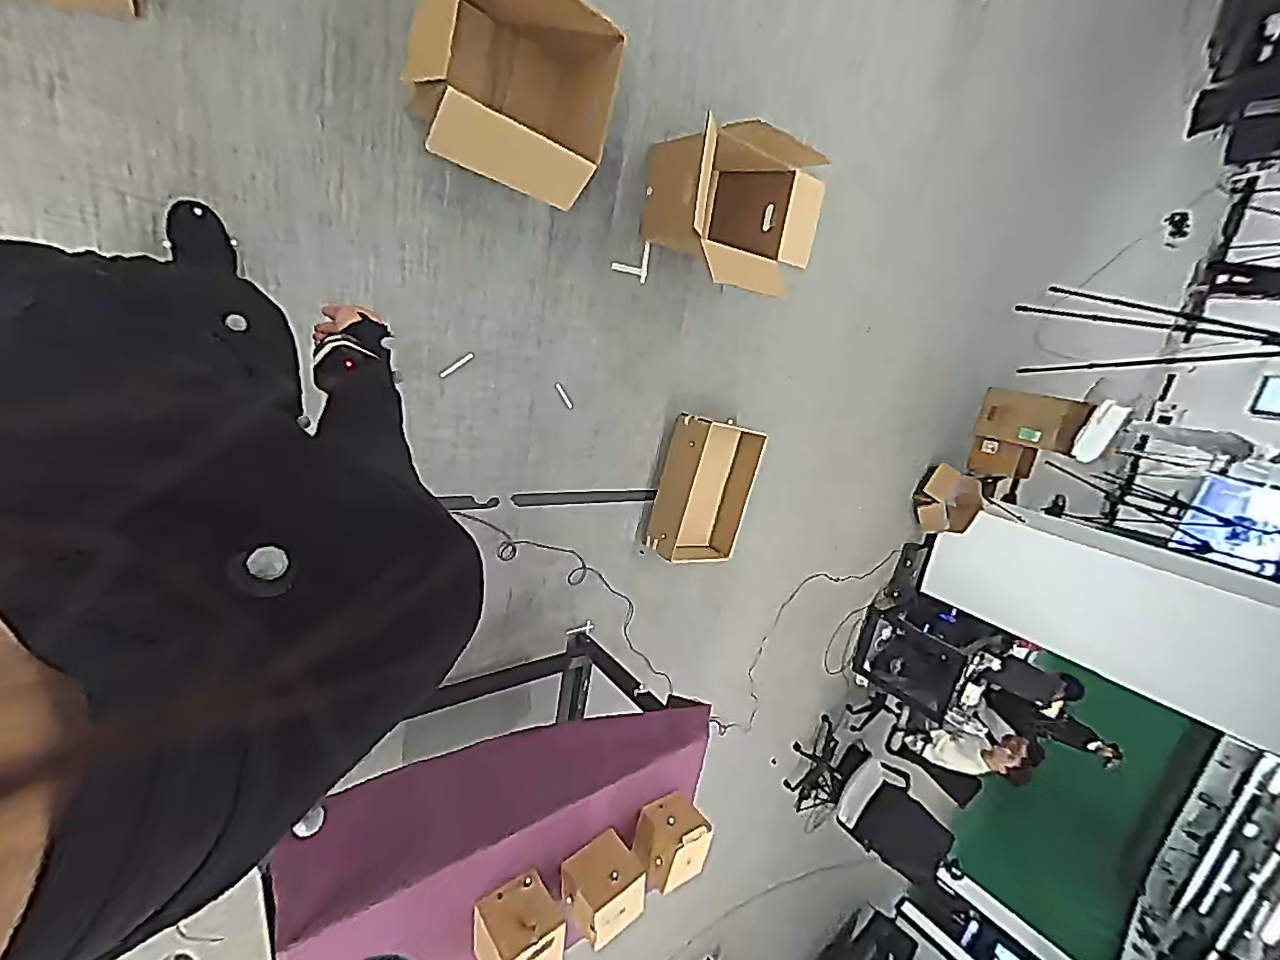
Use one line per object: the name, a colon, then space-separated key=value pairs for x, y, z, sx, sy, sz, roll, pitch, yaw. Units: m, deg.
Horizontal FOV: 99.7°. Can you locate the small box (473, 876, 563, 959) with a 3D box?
small box: x=-0.309 y=1.145 z=1.354 sx=0.168 sy=0.176 sz=0.179 roll=-9 pitch=114 yaw=-39

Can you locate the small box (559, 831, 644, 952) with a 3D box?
small box: x=-0.111 y=1.151 z=1.530 sx=0.179 sy=0.176 sz=0.168 roll=-14 pitch=116 yaw=-37

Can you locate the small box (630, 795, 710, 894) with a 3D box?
small box: x=0.089 y=1.127 z=1.696 sx=0.168 sy=0.176 sz=0.179 roll=3 pitch=106 yaw=-41
